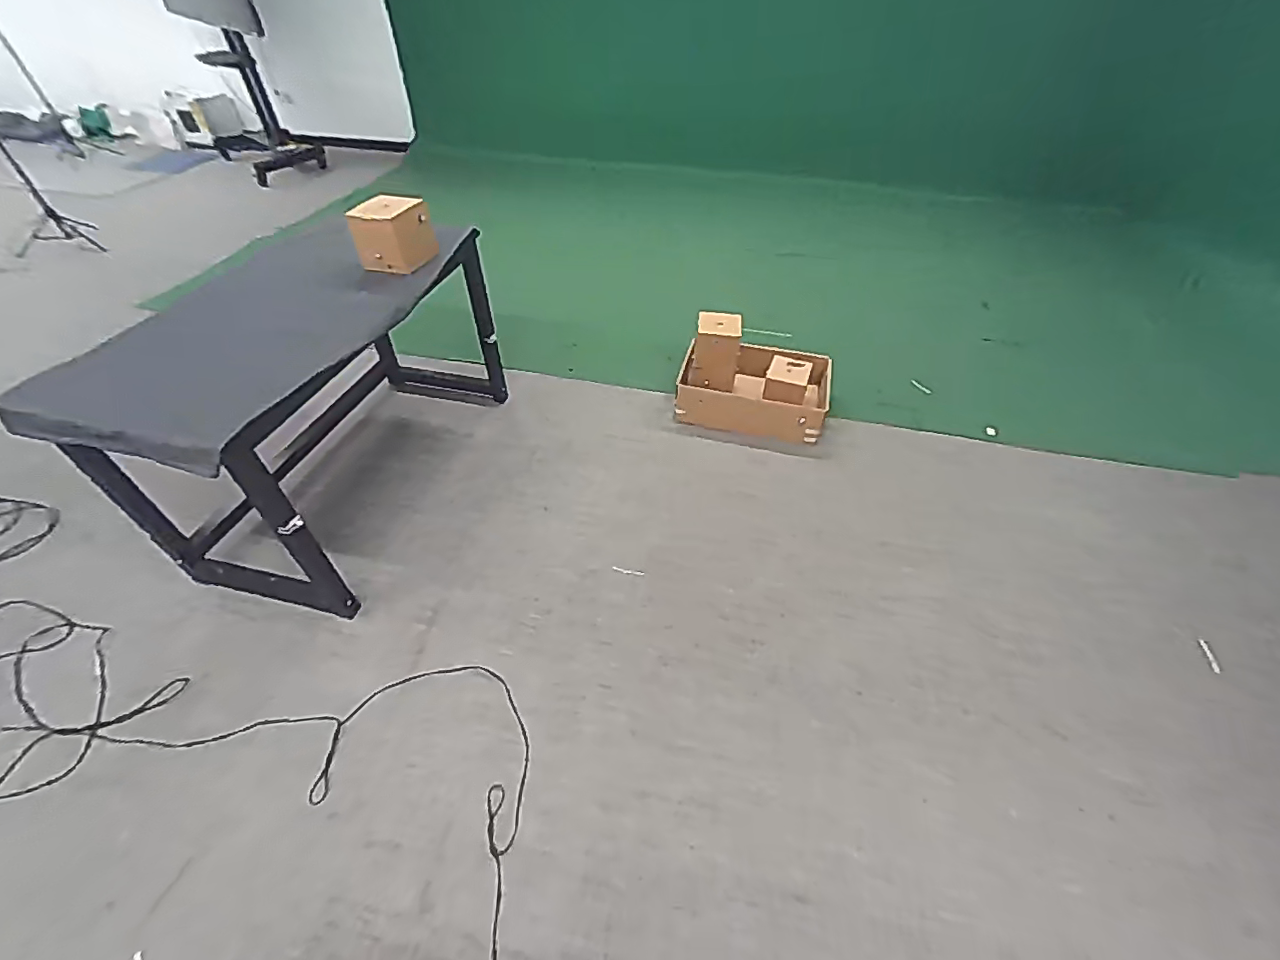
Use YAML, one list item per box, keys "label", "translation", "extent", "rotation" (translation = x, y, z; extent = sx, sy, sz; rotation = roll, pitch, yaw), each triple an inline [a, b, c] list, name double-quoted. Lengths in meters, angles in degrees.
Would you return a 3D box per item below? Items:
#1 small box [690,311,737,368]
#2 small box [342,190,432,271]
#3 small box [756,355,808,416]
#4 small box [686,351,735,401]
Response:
- label: "small box"
  translation: [0.303, -0.579, 2.240]
  extent: [0.179, 0.176, 0.168]
  rotation: [7, 48, 2]
- label: "small box"
  translation: [-0.773, -0.776, 1.680]
  extent: [0.168, 0.176, 0.179]
  rotation: [13, 48, 14]
- label: "small box"
  translation: [0.605, -0.404, 2.310]
  extent: [0.168, 0.176, 0.179]
  rotation: [16, 49, 15]
- label: "small box"
  translation: [0.304, -0.465, 2.359]
  extent: [0.179, 0.176, 0.168]
  rotation: [12, 48, 11]
